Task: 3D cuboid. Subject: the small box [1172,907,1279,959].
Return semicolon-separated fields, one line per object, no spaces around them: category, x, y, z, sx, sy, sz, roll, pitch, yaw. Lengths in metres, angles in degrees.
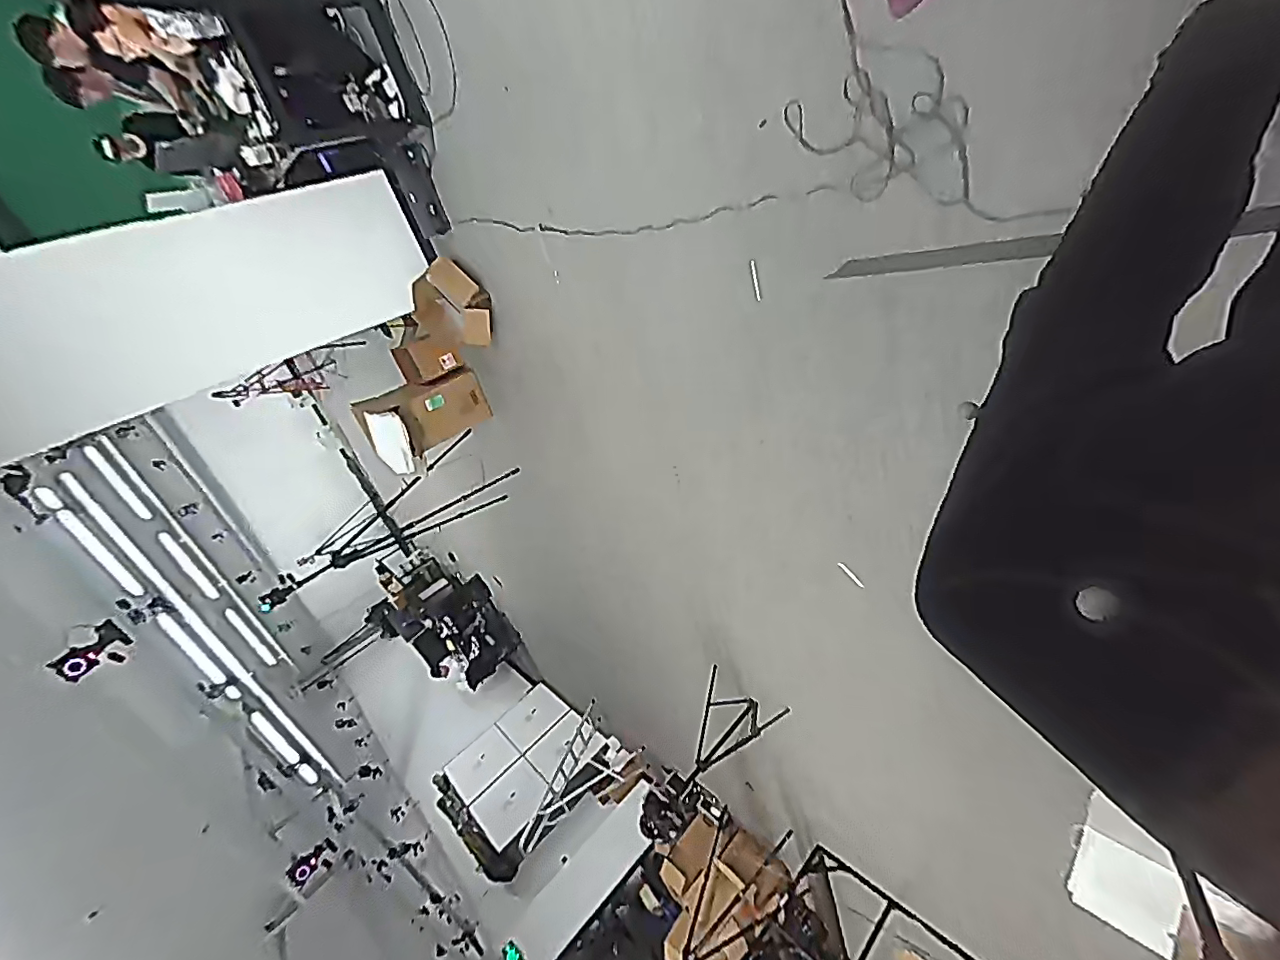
small box;1.315;1.120;1.205;0.179;0.176;0.168;10;128;51
